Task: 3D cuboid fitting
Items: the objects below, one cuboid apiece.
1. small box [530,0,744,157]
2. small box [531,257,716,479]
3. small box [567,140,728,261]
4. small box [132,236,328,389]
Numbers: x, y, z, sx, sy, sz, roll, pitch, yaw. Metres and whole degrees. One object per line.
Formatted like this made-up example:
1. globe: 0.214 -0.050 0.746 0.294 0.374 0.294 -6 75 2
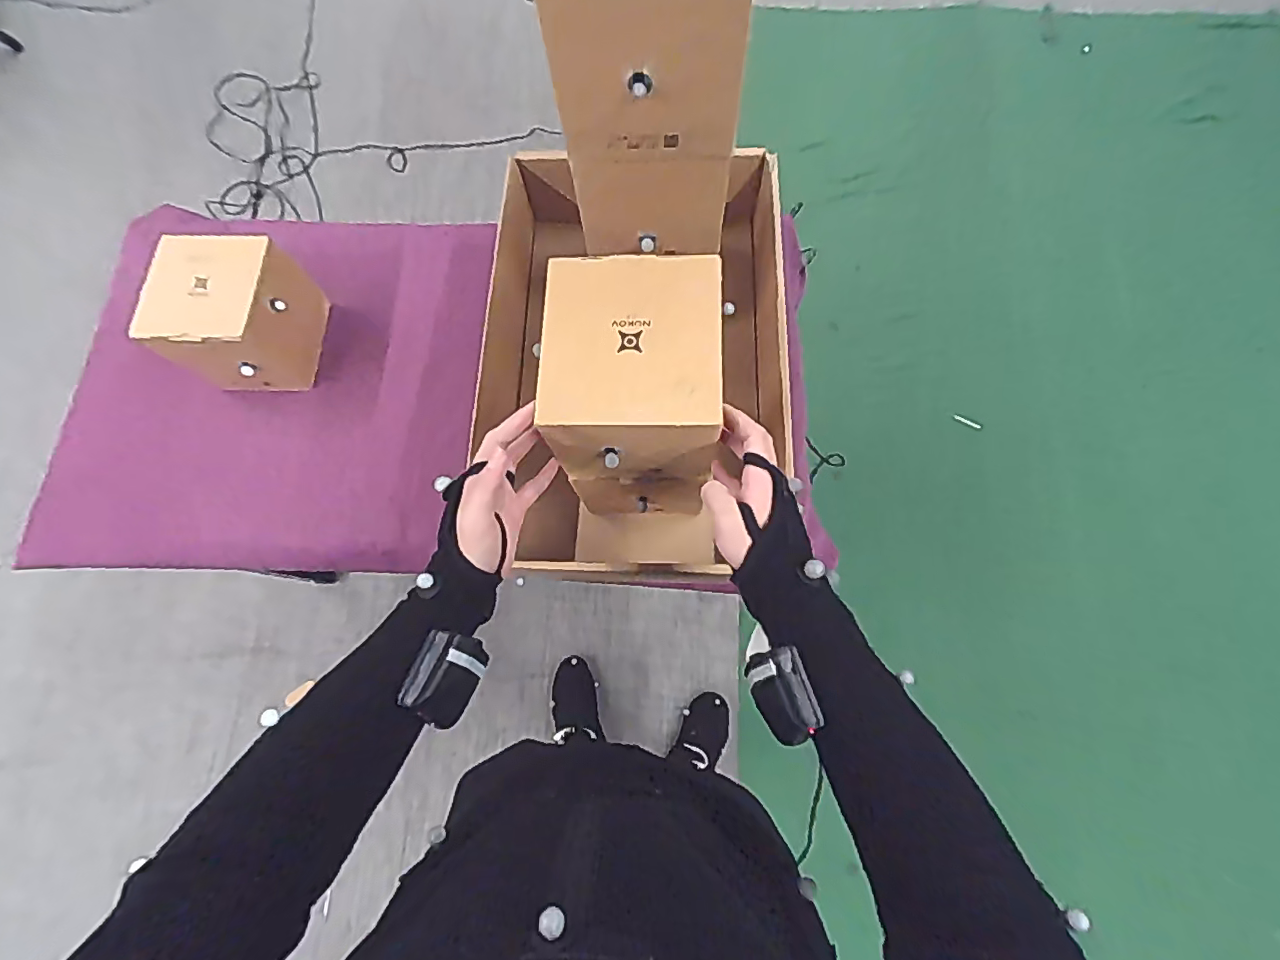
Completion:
1. small box: 0.005 -0.421 0.484 0.168 0.176 0.179 1 75 3
2. small box: -0.006 -0.104 0.567 0.168 0.176 0.179 0 73 4
3. small box: 0.012 -0.380 0.645 0.168 0.176 0.179 0 75 3
4. small box: -0.630 -0.256 0.857 0.168 0.176 0.179 2 73 1
